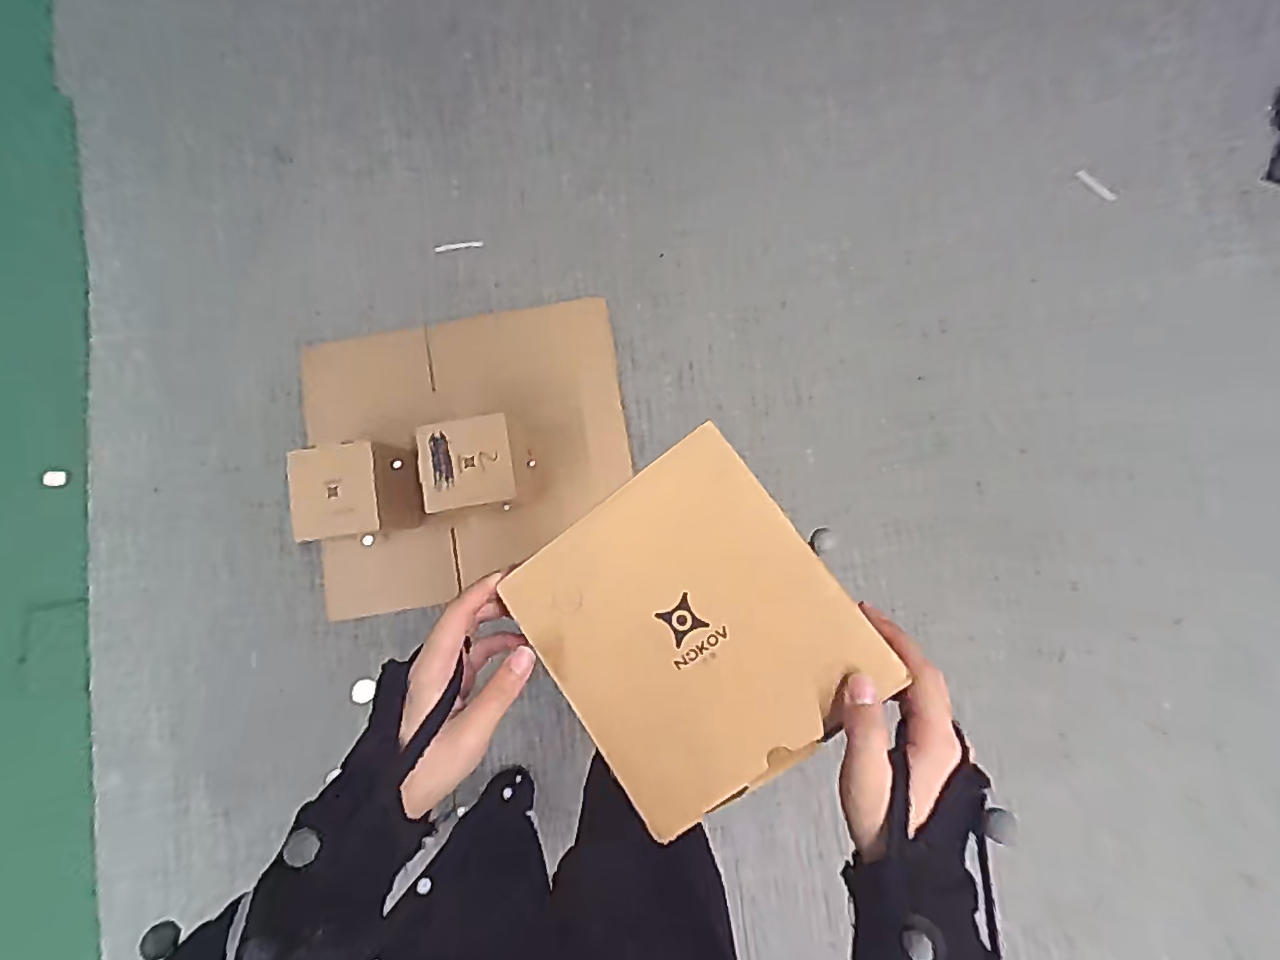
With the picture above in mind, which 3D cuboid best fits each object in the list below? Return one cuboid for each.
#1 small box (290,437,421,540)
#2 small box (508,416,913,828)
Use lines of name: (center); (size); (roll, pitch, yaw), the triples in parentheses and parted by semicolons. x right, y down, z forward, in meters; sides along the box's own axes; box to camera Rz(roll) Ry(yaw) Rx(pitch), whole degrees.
small box: (-0.561, 0.022, 1.085); (0.168, 0.176, 0.179); (-9, 86, 3)
small box: (0.046, 0.085, 0.383); (0.168, 0.176, 0.179); (-38, 79, 7)
